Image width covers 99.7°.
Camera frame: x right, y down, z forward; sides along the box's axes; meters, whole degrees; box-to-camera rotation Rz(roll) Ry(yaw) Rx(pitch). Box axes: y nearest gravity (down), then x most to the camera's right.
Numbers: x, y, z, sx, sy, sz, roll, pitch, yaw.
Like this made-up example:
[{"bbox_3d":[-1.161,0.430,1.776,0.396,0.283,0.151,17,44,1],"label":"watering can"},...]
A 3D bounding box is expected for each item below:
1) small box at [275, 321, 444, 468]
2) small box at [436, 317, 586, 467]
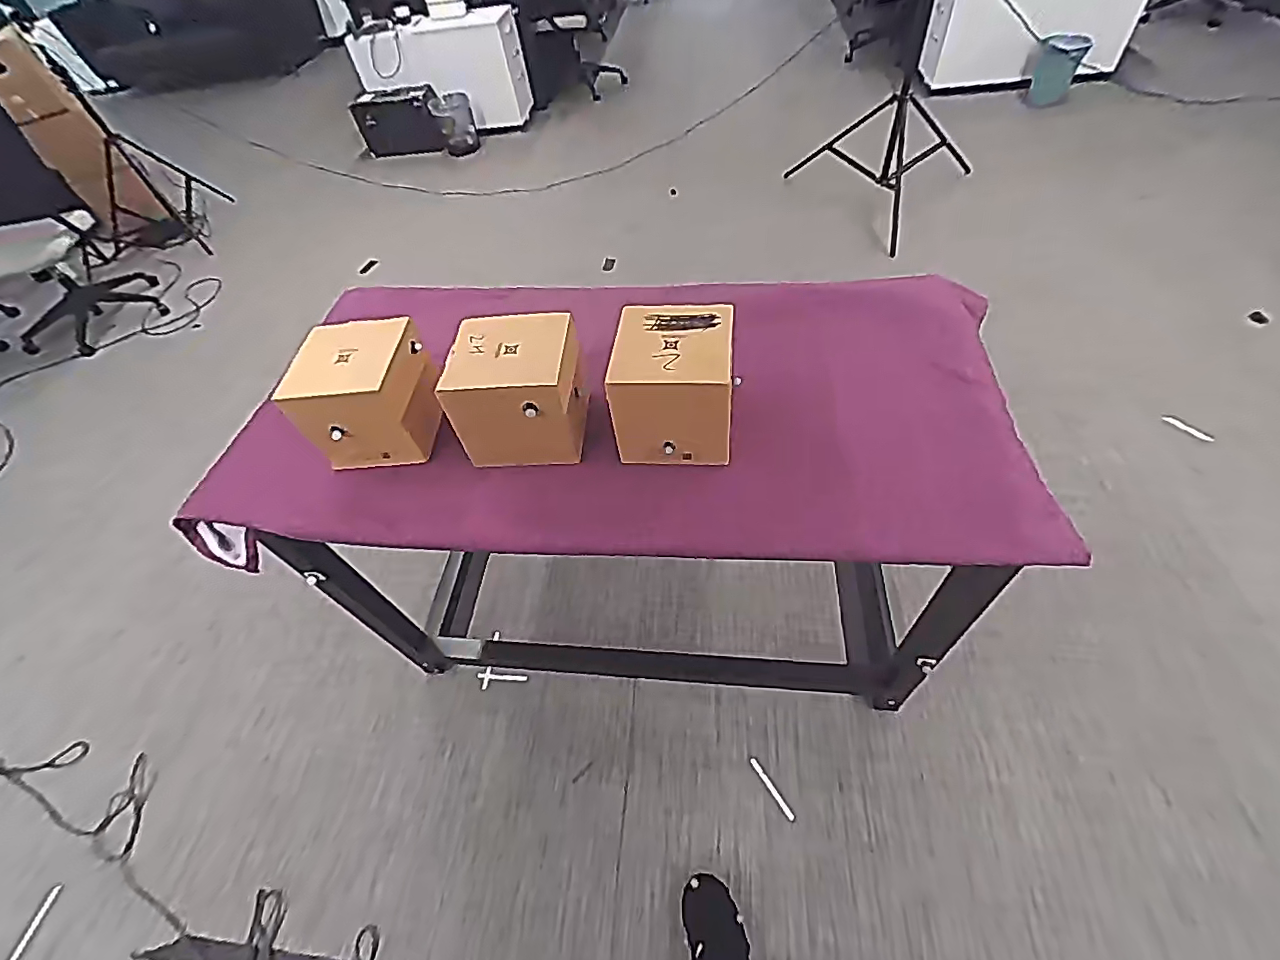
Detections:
[{"bbox_3d":[-0.440,-0.132,0.887,0.168,0.176,0.179,-5,51,4],"label":"small box"},{"bbox_3d":[-0.187,-0.133,0.849,0.179,0.176,0.168,-2,51,5],"label":"small box"}]
